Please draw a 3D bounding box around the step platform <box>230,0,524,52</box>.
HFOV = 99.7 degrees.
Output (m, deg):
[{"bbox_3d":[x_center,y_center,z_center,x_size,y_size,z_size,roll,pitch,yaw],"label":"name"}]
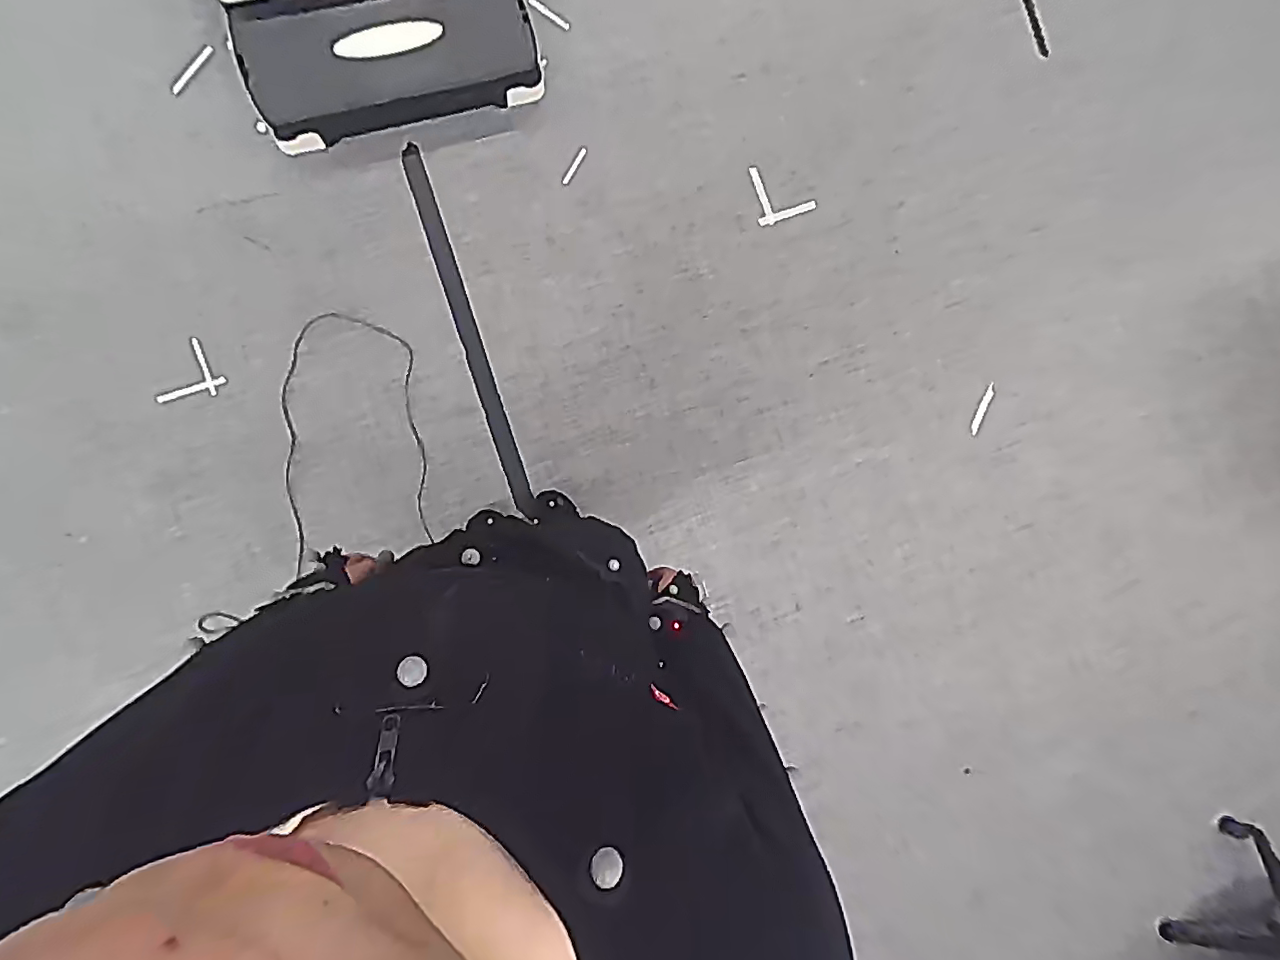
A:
[{"bbox_3d":[-0.634,-1.257,1.276,0.684,0.204,0.286,-14,90,-9],"label":"step platform"}]
